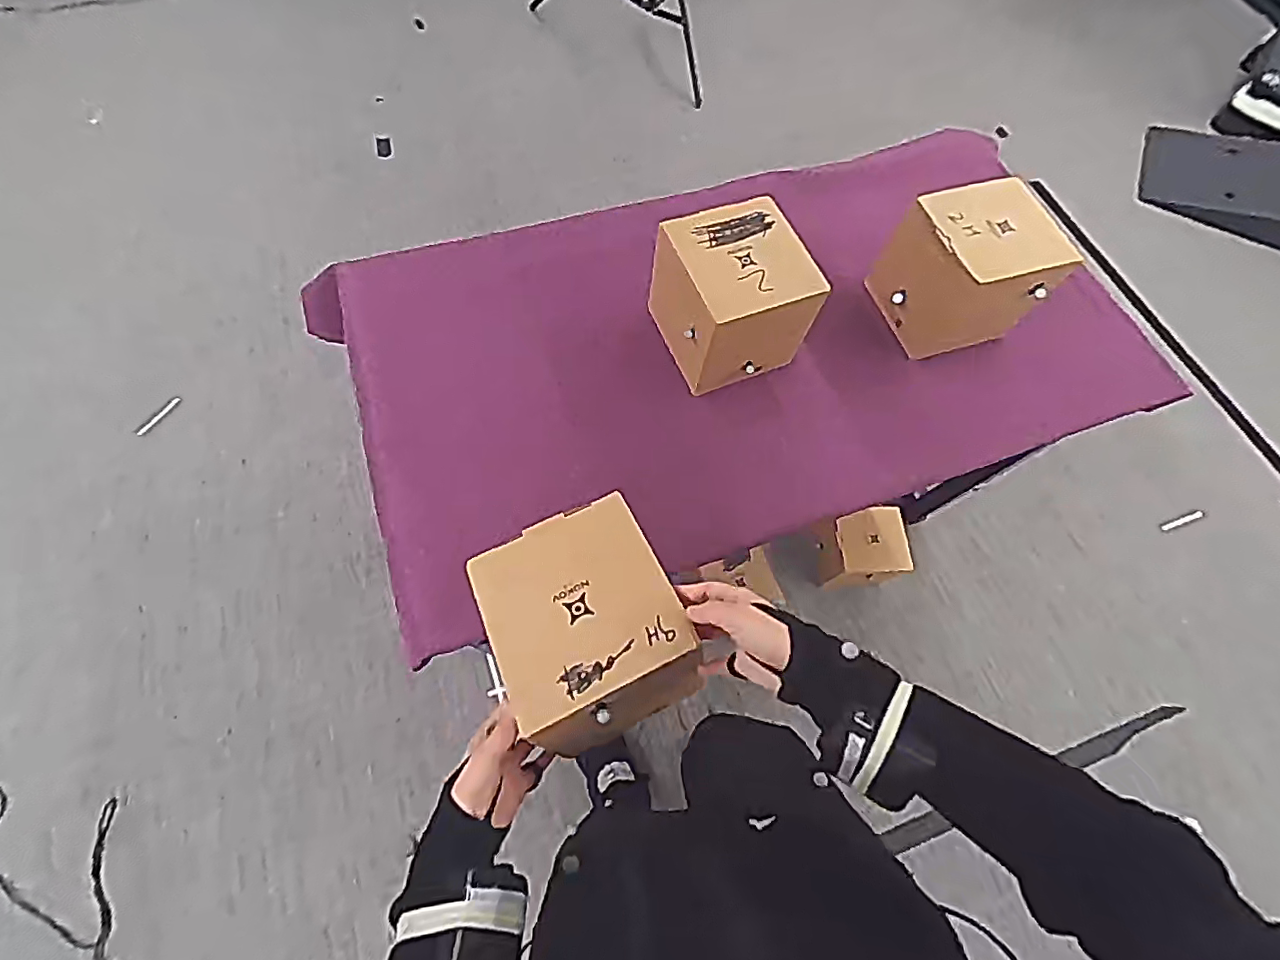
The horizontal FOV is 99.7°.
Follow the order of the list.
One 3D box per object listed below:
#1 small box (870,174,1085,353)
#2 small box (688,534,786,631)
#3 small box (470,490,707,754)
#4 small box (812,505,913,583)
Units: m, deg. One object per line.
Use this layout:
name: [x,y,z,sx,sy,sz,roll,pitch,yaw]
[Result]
small box: [0.486,-0.316,0.809,0.179,0.176,0.168,-16,69,-9]
small box: [0.230,0.258,1.345,0.168,0.176,0.179,-18,71,-11]
small box: [-0.044,0.147,0.546,0.168,0.176,0.179,-26,58,-8]
small box: [0.570,0.169,1.406,0.179,0.176,0.168,-2,68,-3]
